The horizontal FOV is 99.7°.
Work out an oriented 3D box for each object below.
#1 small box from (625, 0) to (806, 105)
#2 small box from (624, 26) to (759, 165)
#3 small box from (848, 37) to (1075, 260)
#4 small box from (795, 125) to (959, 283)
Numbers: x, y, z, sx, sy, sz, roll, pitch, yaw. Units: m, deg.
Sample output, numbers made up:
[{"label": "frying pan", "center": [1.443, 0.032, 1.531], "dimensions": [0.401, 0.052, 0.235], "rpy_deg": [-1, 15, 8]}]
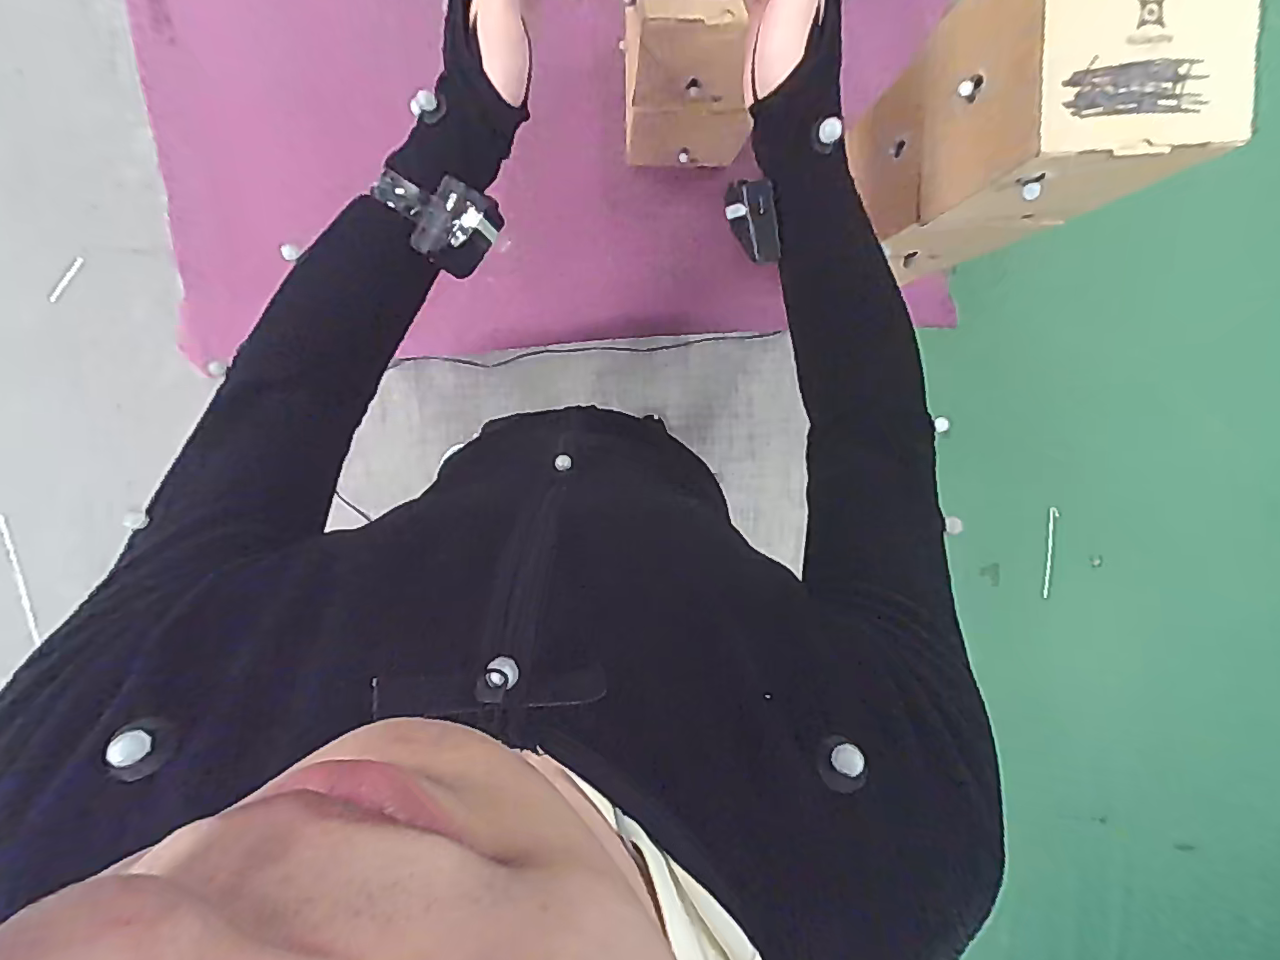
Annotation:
[{"label": "small box", "center": [0.071, -0.548, 0.592], "dimensions": [0.168, 0.176, 0.179], "rpy_deg": [-5, 101, -4]}, {"label": "small box", "center": [0.065, -0.570, 0.753], "dimensions": [0.168, 0.176, 0.179], "rpy_deg": [-1, 100, -4]}, {"label": "small box", "center": [0.362, -0.375, 0.642], "dimensions": [0.168, 0.176, 0.179], "rpy_deg": [-1, 99, -3]}, {"label": "small box", "center": [0.348, -0.396, 0.804], "dimensions": [0.179, 0.176, 0.168], "rpy_deg": [-1, 98, -4]}]
